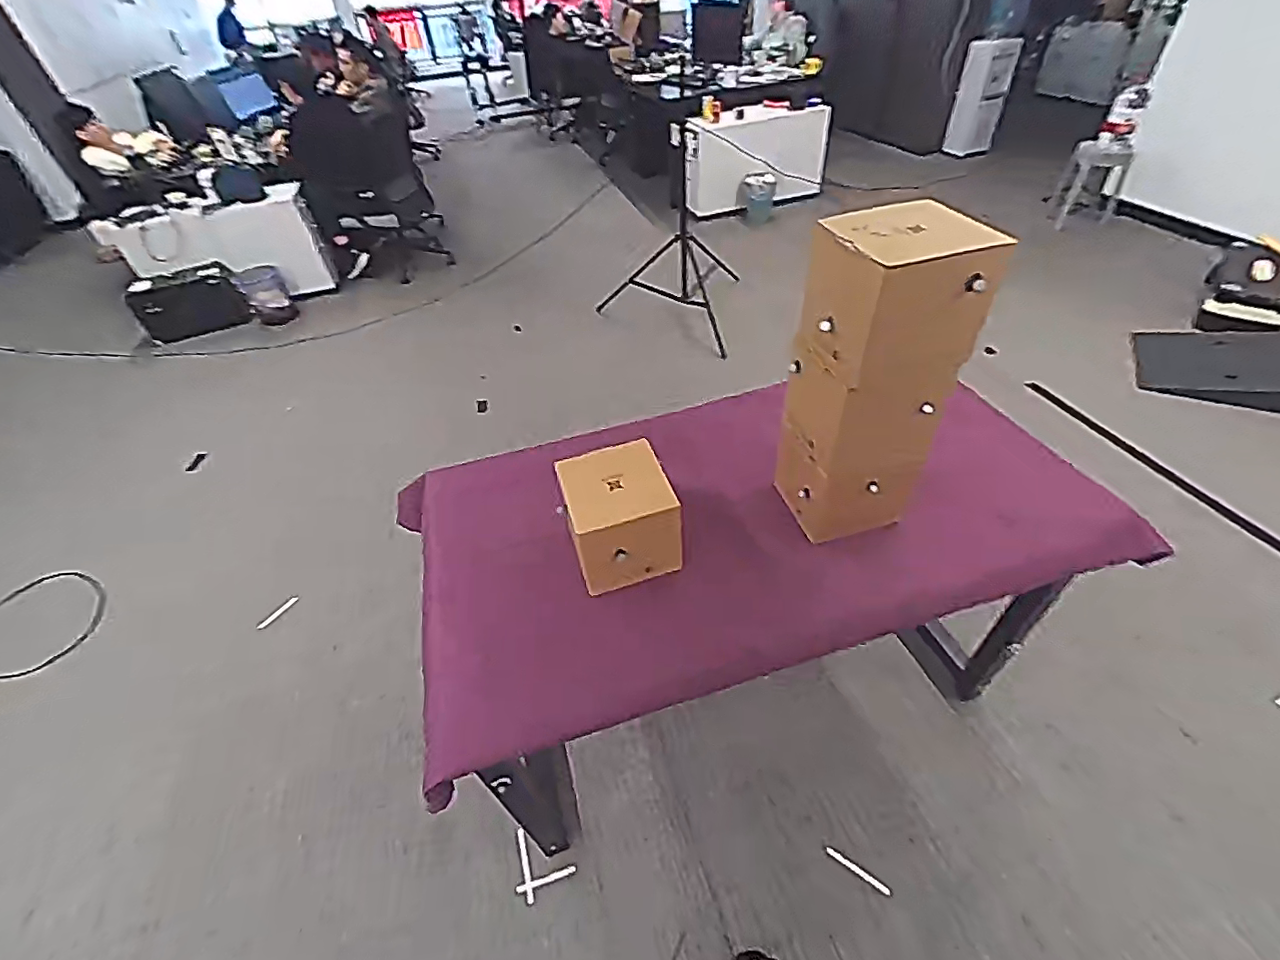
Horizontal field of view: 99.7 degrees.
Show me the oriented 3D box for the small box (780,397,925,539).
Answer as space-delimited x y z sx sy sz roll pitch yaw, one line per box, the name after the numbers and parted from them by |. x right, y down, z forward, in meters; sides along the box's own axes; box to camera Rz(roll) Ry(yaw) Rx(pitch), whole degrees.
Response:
0.361 -0.018 0.960 0.179 0.176 0.168 -13 45 -8 | small box

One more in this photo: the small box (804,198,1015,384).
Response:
0.343 -0.254 0.730 0.179 0.176 0.168 -14 44 -7 | small box

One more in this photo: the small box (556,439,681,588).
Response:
-0.033 0.063 0.925 0.168 0.176 0.179 -16 44 -9 | small box
